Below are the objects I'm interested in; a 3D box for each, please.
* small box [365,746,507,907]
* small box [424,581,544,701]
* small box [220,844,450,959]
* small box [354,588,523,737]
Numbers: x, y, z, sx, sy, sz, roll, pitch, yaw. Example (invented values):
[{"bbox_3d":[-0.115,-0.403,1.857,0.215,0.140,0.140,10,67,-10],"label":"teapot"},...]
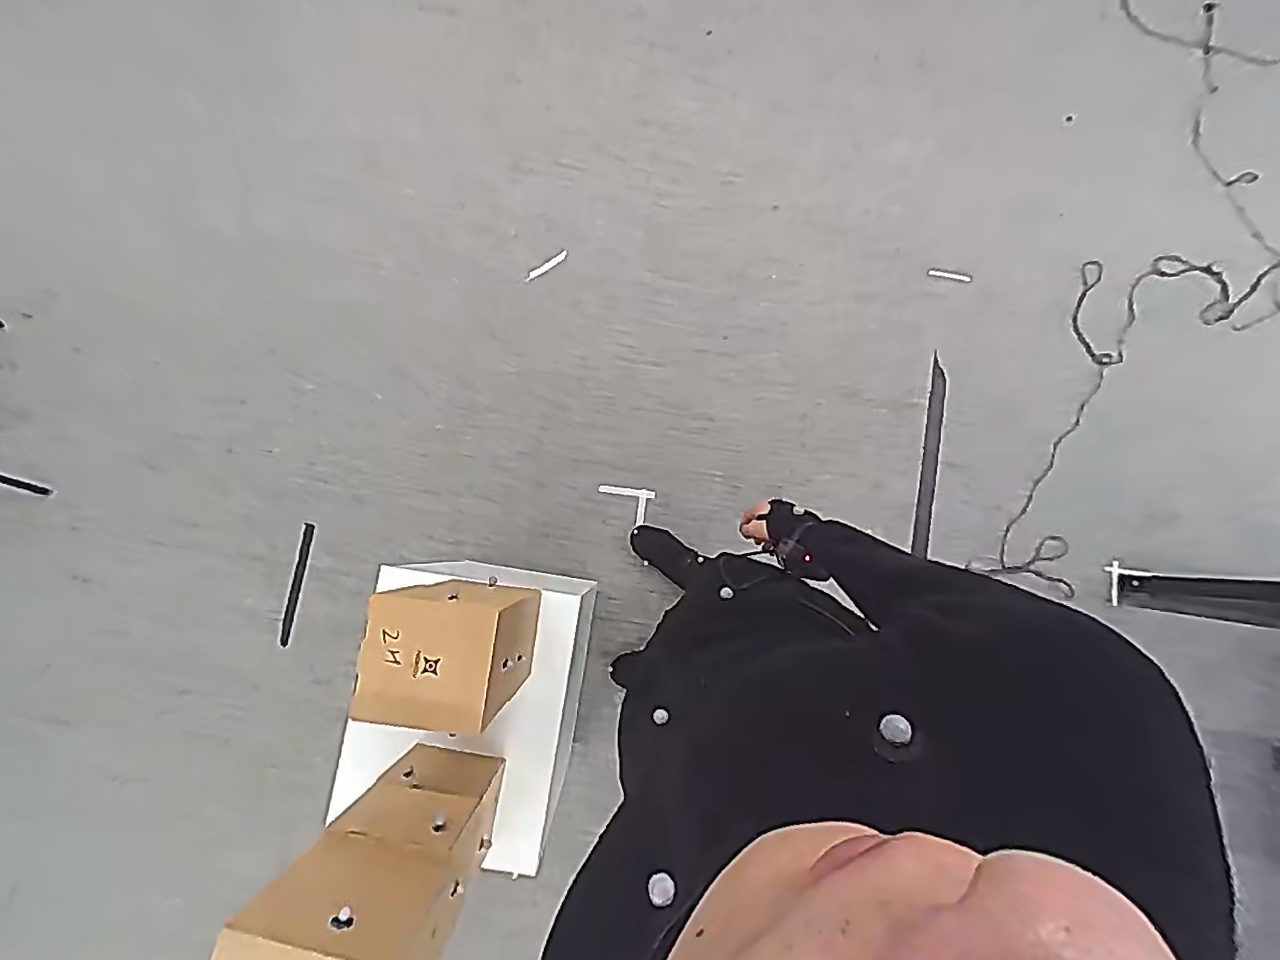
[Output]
[{"bbox_3d":[-0.340,0.575,0.921,0.179,0.176,0.168,9,82,1],"label":"small box"},{"bbox_3d":[-0.280,0.275,0.958,0.179,0.176,0.168,7,84,1],"label":"small box"},{"bbox_3d":[-0.333,0.540,0.594,0.179,0.176,0.168,12,83,2],"label":"small box"},{"bbox_3d":[-0.279,0.254,0.794,0.179,0.176,0.168,8,83,1],"label":"small box"}]
